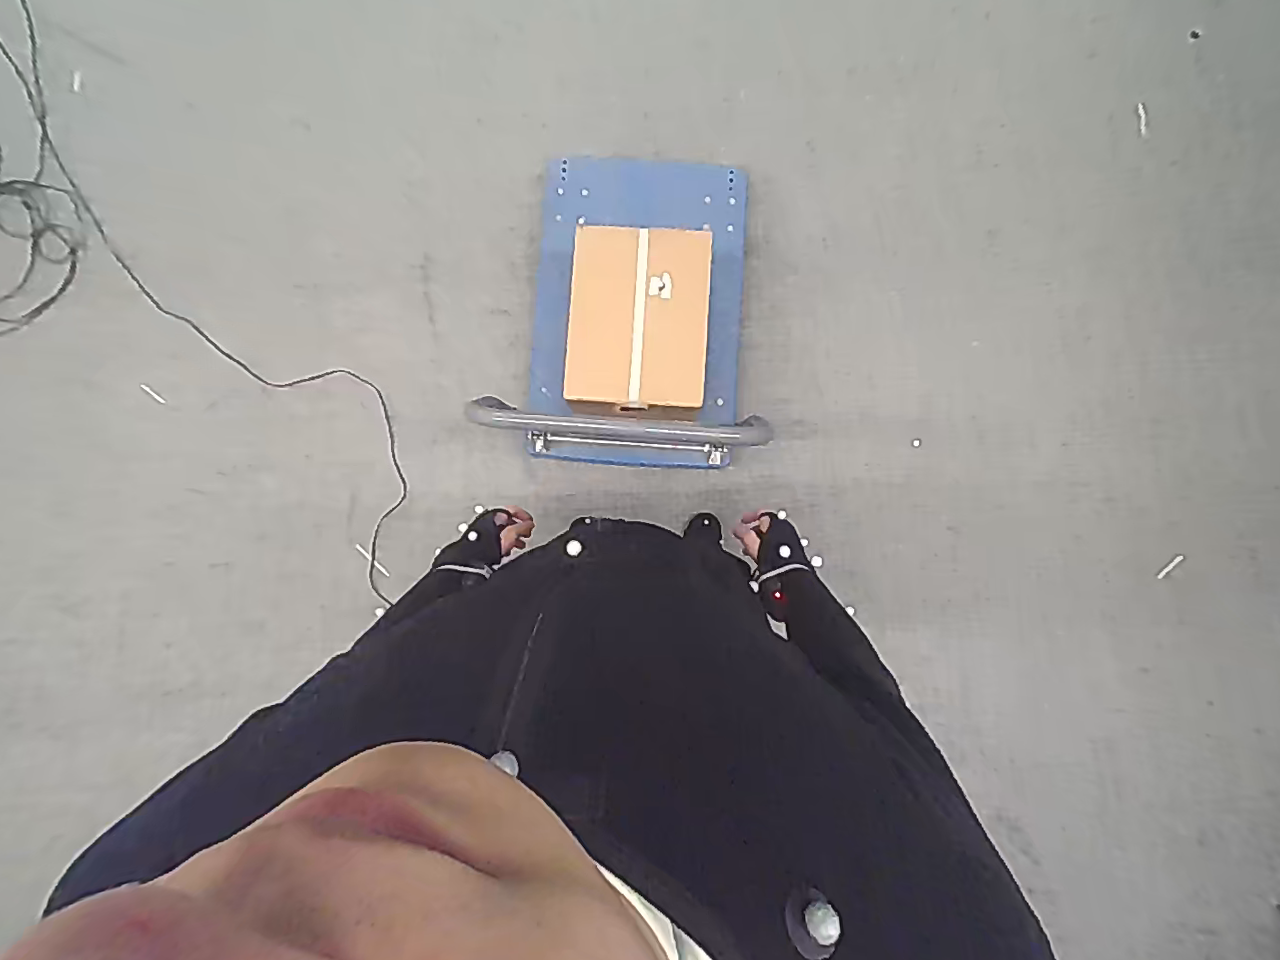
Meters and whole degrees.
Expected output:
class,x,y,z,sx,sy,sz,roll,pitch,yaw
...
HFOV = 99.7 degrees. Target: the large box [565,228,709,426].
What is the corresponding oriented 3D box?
class,x,y,z,sx,sy,sz,roll,pitch,yaw
large box,-0.001,-0.361,1.372,0.320,0.320,0.408,4,85,1
